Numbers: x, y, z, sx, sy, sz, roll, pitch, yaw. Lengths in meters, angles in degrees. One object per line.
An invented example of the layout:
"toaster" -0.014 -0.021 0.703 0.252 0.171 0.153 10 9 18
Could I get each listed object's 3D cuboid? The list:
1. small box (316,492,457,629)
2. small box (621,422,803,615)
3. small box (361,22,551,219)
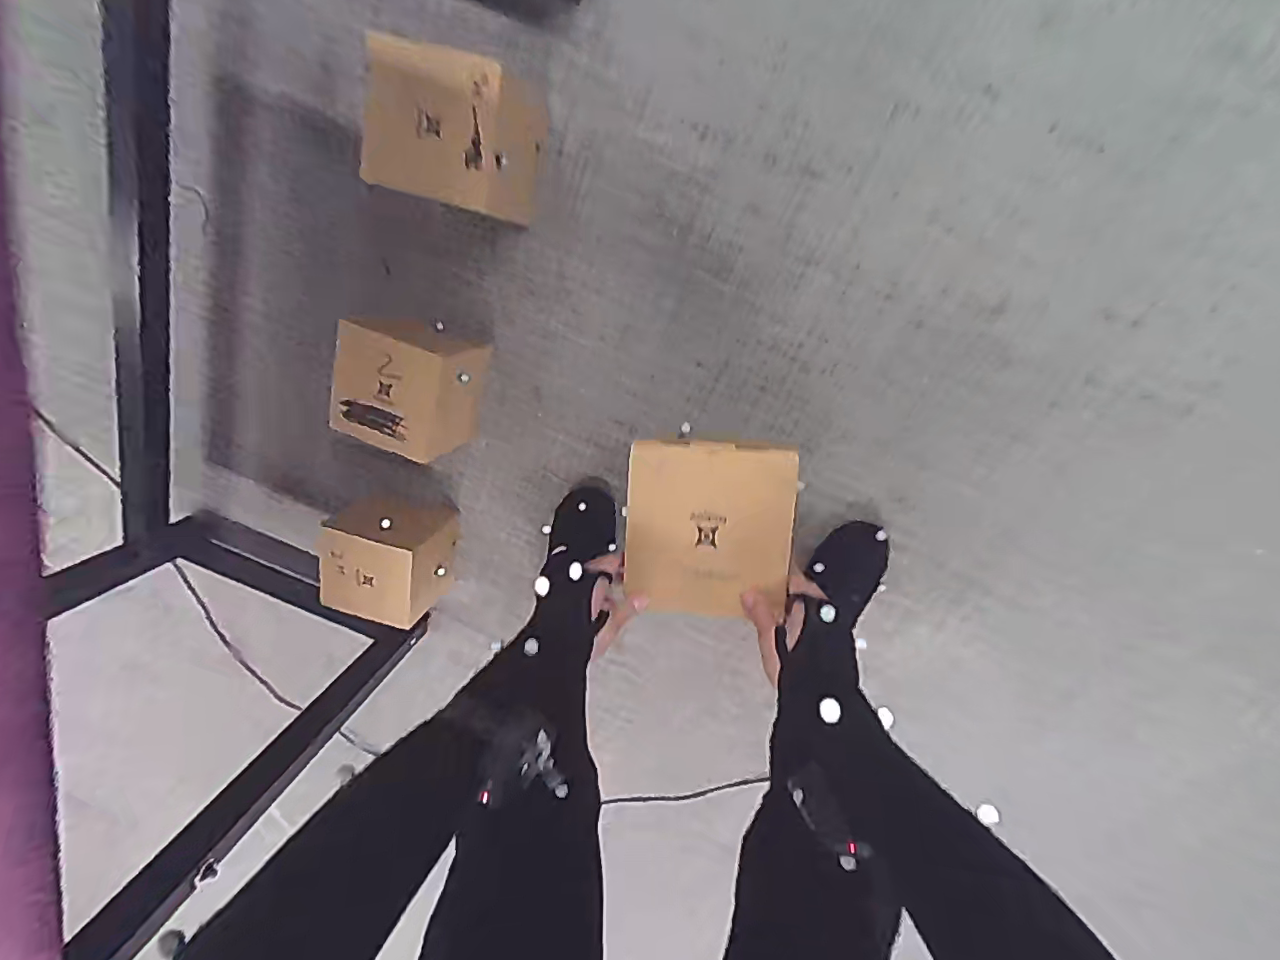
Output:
"small box" -0.455 0.138 0.989 0.179 0.176 0.168 15 112 5
"small box" 0.081 0.029 0.613 0.168 0.176 0.179 6 100 10
"small box" -0.241 -0.467 0.731 0.179 0.176 0.168 17 111 5
